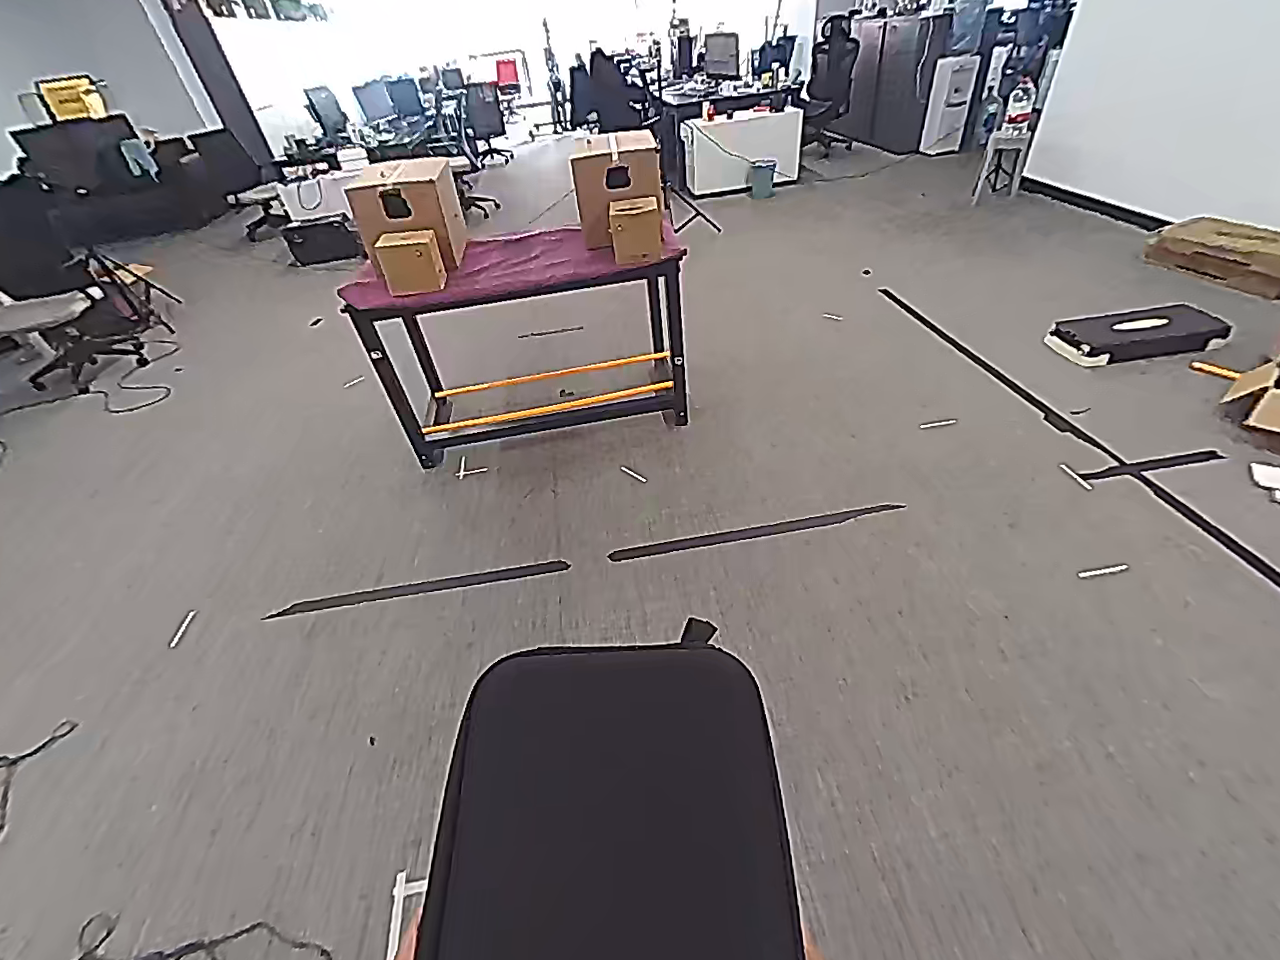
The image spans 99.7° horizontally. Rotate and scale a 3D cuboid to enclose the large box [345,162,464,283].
[{"bbox_3d":[-0.889,-1.008,2.102,0.320,0.320,0.408,-10,43,-4],"label":"large box"}]
